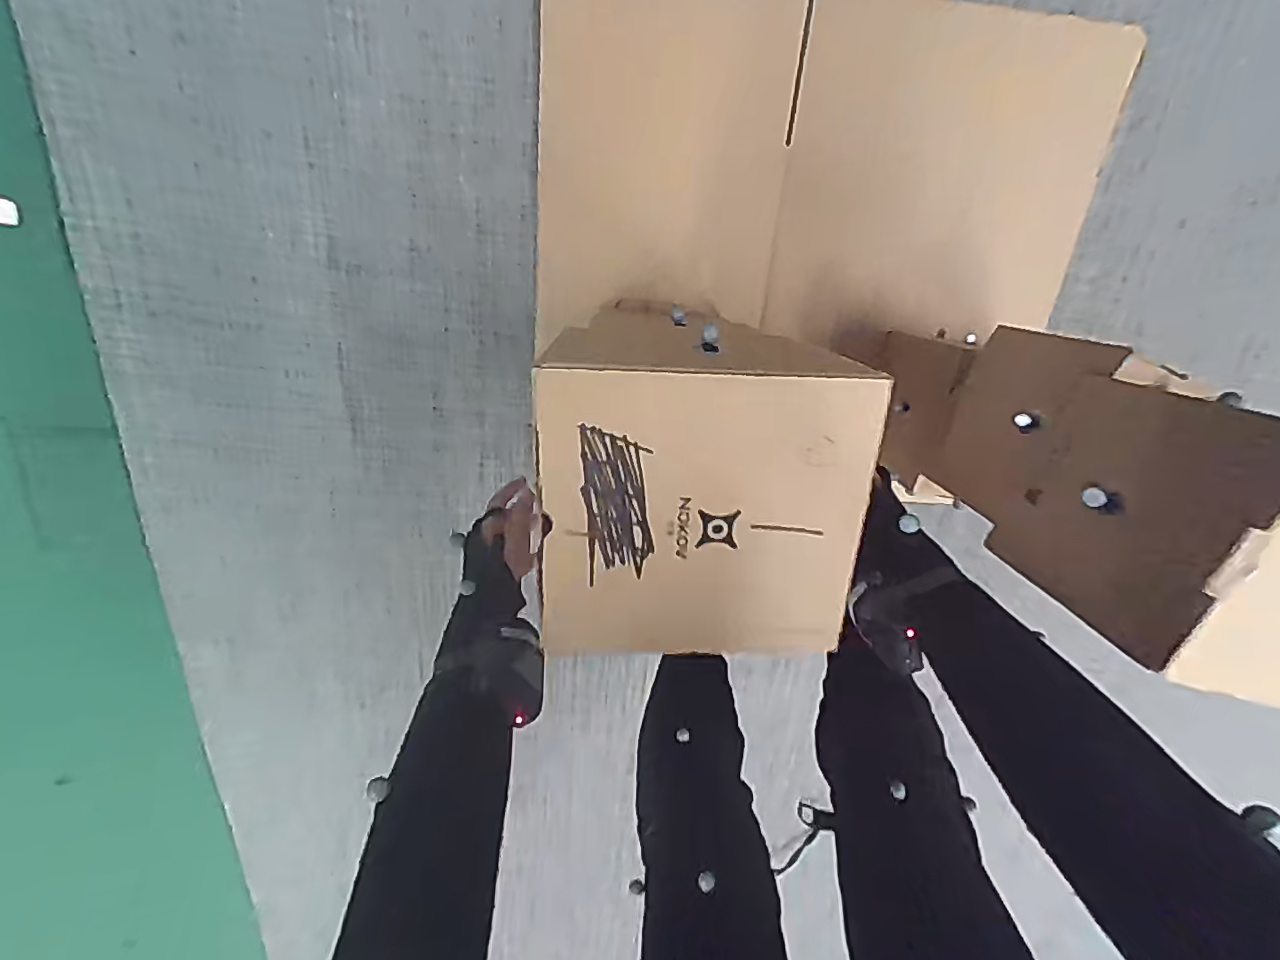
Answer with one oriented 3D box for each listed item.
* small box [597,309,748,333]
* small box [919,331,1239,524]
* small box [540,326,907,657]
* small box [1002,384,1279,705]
[{"bbox_3d":[0.029,-0.110,0.667,0.168,0.176,0.179,2,111,-4],"label":"small box"},{"bbox_3d":[0.423,-0.031,0.538,0.168,0.176,0.179,23,109,-12],"label":"small box"},{"bbox_3d":[0.033,-0.006,0.354,0.179,0.176,0.168,1,112,-4],"label":"small box"},{"bbox_3d":[0.419,0.039,0.391,0.179,0.176,0.168,16,110,-9],"label":"small box"}]
